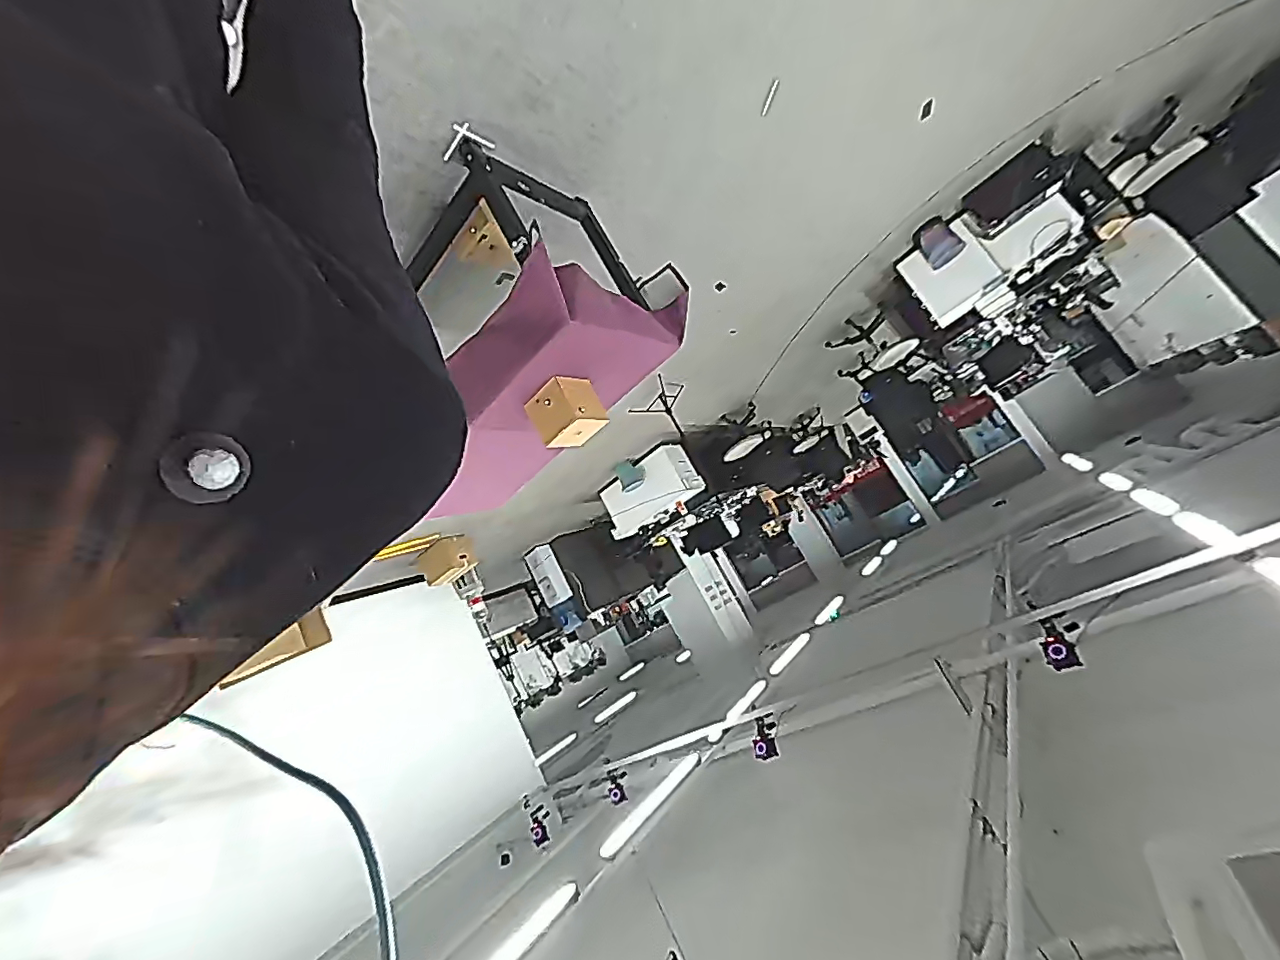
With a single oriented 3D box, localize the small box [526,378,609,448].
[{"bbox_3d":[-0.241,-0.223,1.791,0.168,0.176,0.179,-37,164,31],"label":"small box"}]
